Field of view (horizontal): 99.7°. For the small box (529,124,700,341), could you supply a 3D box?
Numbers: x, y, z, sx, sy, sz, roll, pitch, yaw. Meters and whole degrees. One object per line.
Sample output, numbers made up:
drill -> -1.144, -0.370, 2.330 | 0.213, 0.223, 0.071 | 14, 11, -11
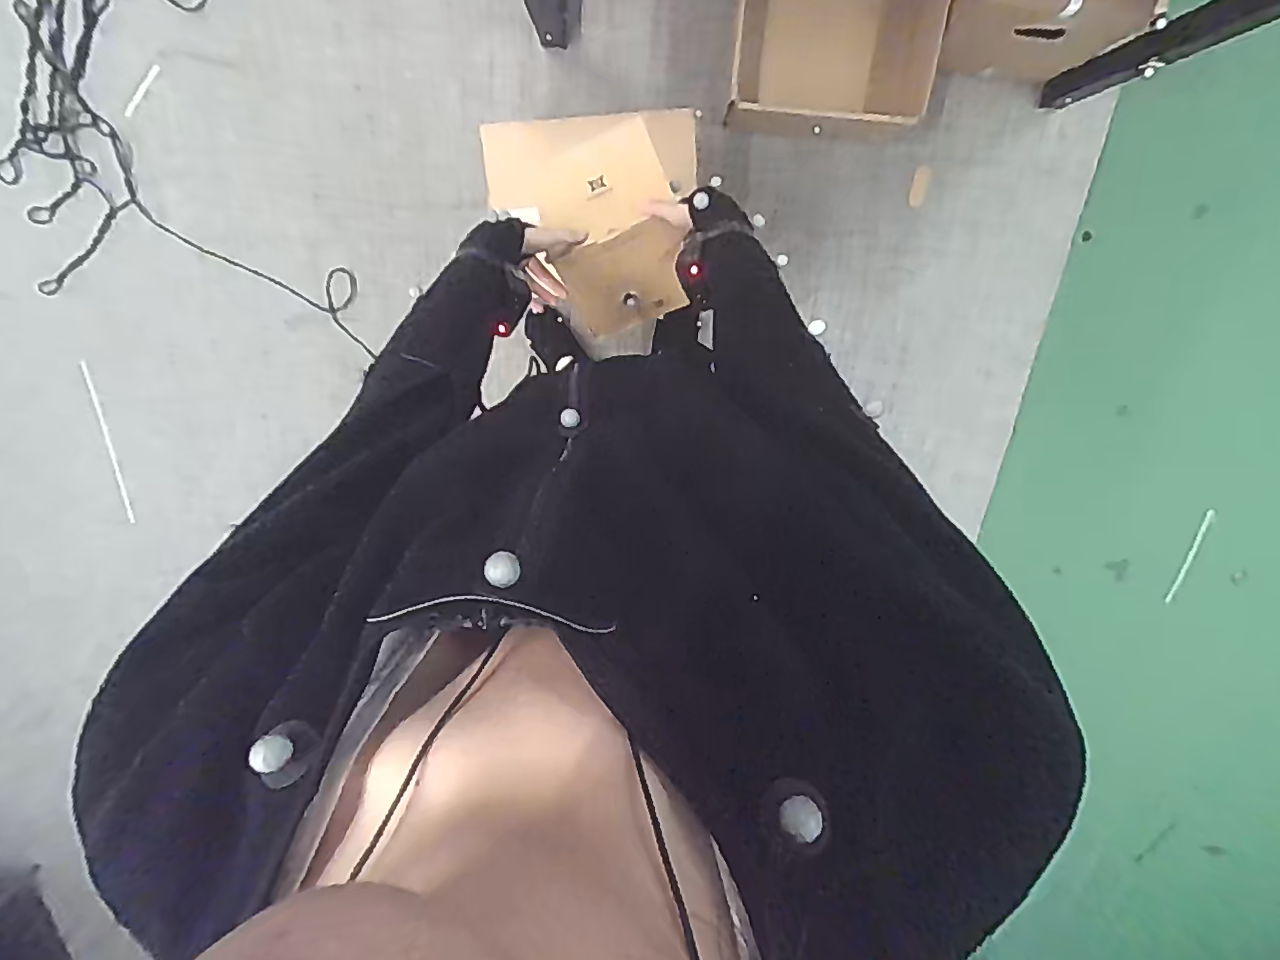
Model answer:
small box -> -0.030, -0.326, 0.738 | 0.168, 0.176, 0.179 | -20, 66, 9

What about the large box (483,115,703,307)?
large box -> -0.085, -0.557, 1.183 | 0.408, 0.320, 0.320 | -4, 109, 1
